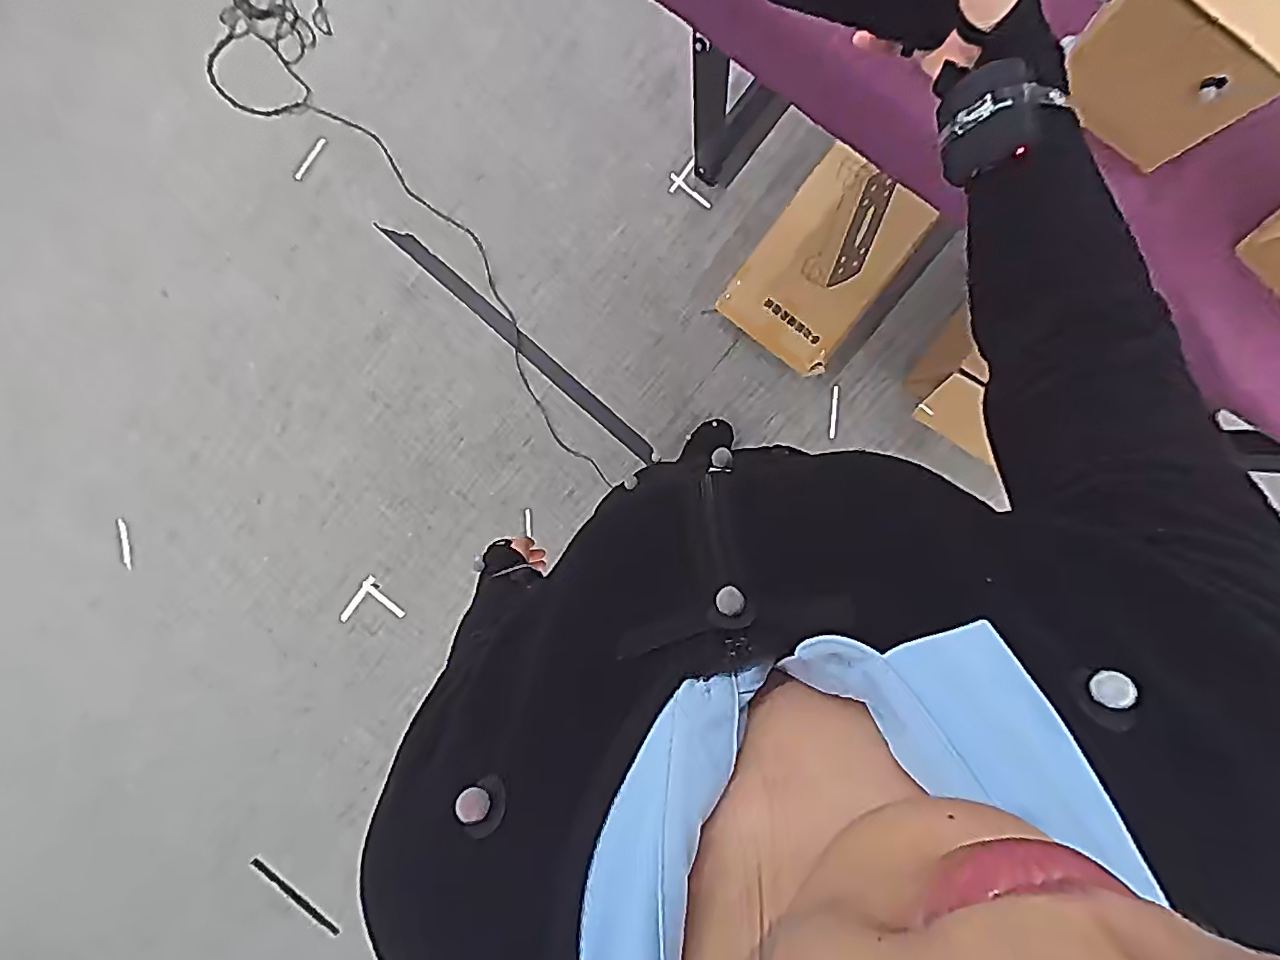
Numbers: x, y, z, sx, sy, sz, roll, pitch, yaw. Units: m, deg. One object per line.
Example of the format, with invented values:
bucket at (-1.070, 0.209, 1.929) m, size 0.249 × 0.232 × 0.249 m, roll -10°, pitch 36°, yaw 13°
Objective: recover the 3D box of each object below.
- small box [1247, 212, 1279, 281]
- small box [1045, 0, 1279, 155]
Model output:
small box at (0.838, -0.276, 0.571) m, size 0.168 × 0.176 × 0.179 m, roll -45°, pitch 89°, yaw 8°
small box at (0.604, -0.491, 0.578) m, size 0.179 × 0.176 × 0.168 m, roll 38°, pitch 95°, yaw 2°
